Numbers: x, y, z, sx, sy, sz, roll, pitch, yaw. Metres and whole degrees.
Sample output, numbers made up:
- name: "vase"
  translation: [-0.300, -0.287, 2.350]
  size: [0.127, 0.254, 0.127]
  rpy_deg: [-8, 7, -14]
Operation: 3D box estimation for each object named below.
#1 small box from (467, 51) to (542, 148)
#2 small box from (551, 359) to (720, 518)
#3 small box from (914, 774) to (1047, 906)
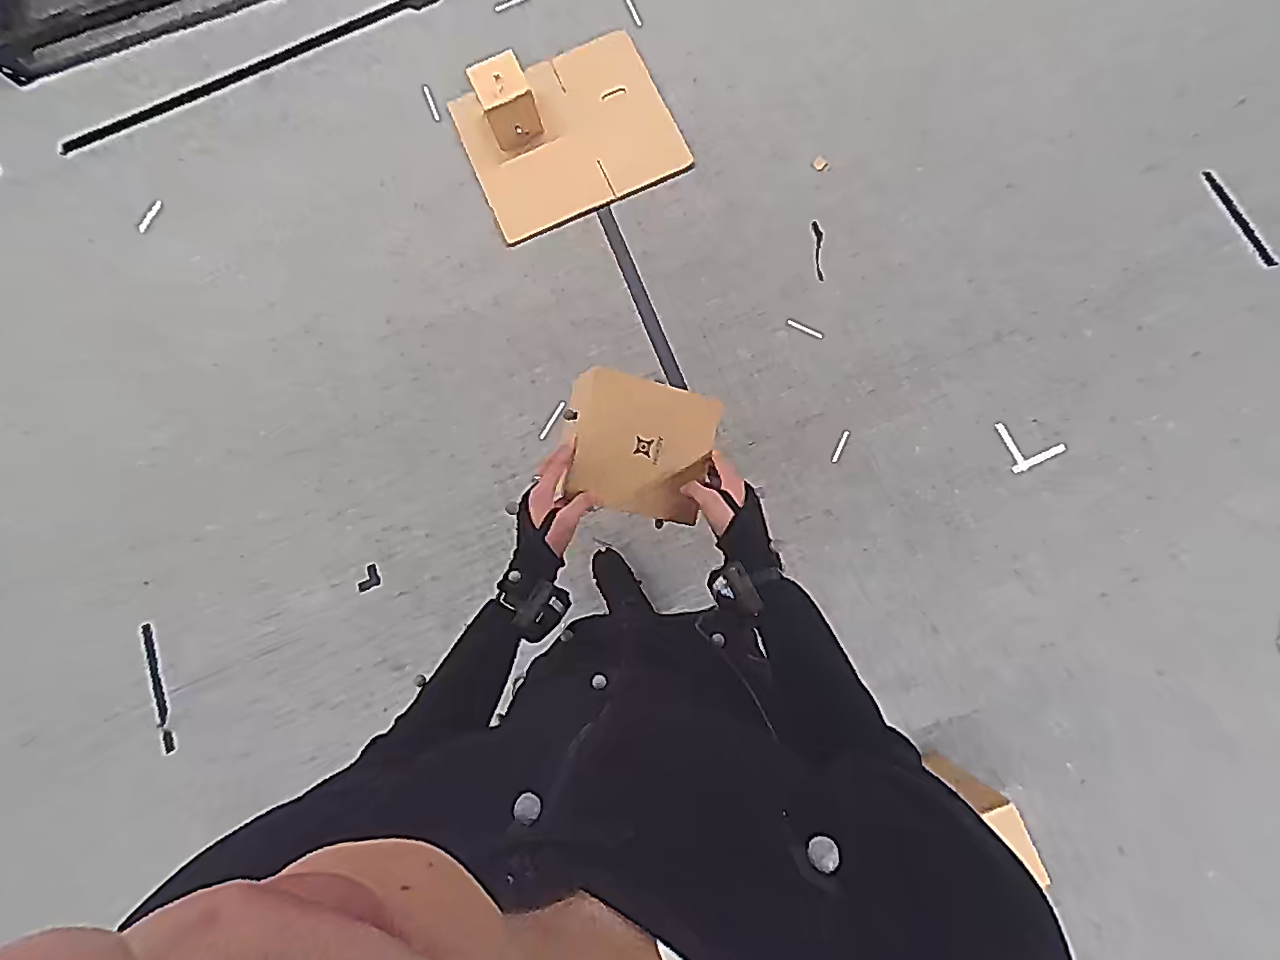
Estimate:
- name: "small box"
  translation: [-0.447, -1.265, 1.807]
  size: [0.168, 0.176, 0.179]
  rpy_deg: [-24, 81, 0]
- name: "small box"
  translation: [-0.018, -0.054, 0.739]
  size: [0.179, 0.176, 0.168]
  rpy_deg: [12, 92, -16]
- name: "small box"
  translation: [0.778, 0.825, 1.256]
  size: [0.168, 0.176, 0.179]
  rpy_deg: [-21, 80, -1]
